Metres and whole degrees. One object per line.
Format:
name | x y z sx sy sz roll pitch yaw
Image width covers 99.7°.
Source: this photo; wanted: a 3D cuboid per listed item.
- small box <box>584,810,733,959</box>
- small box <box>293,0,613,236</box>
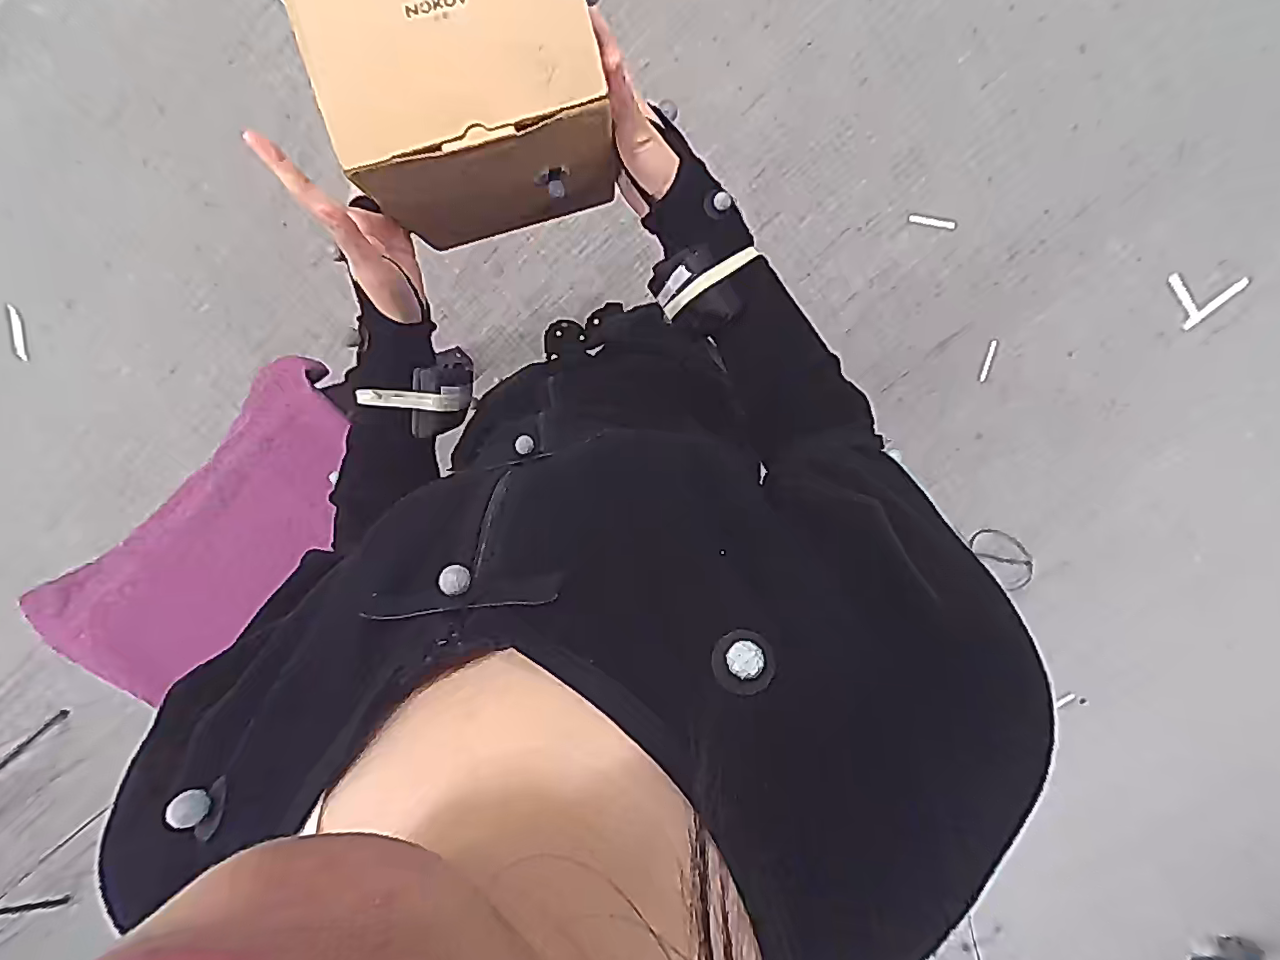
small box | 0.028 0.701 0.912 0.168 0.176 0.179 -42 104 14
small box | -0.117 -0.293 0.382 0.168 0.176 0.179 -15 97 -1
